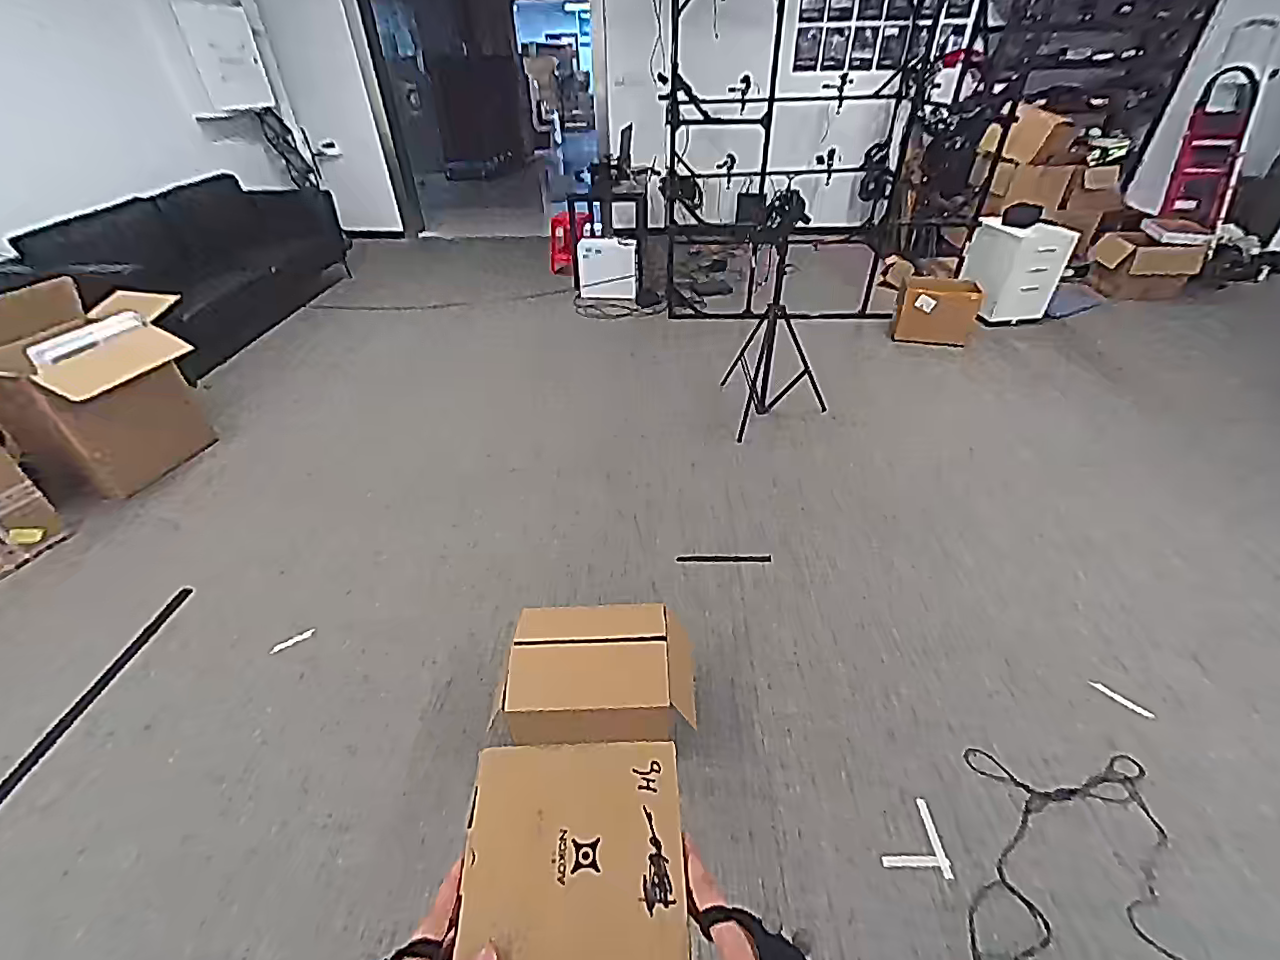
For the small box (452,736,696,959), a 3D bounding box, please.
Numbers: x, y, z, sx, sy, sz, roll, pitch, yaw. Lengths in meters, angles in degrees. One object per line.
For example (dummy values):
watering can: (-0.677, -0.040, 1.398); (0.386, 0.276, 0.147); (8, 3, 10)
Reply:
small box: (-0.049, 0.345, 0.486); (0.179, 0.176, 0.168); (-1, 48, -2)
